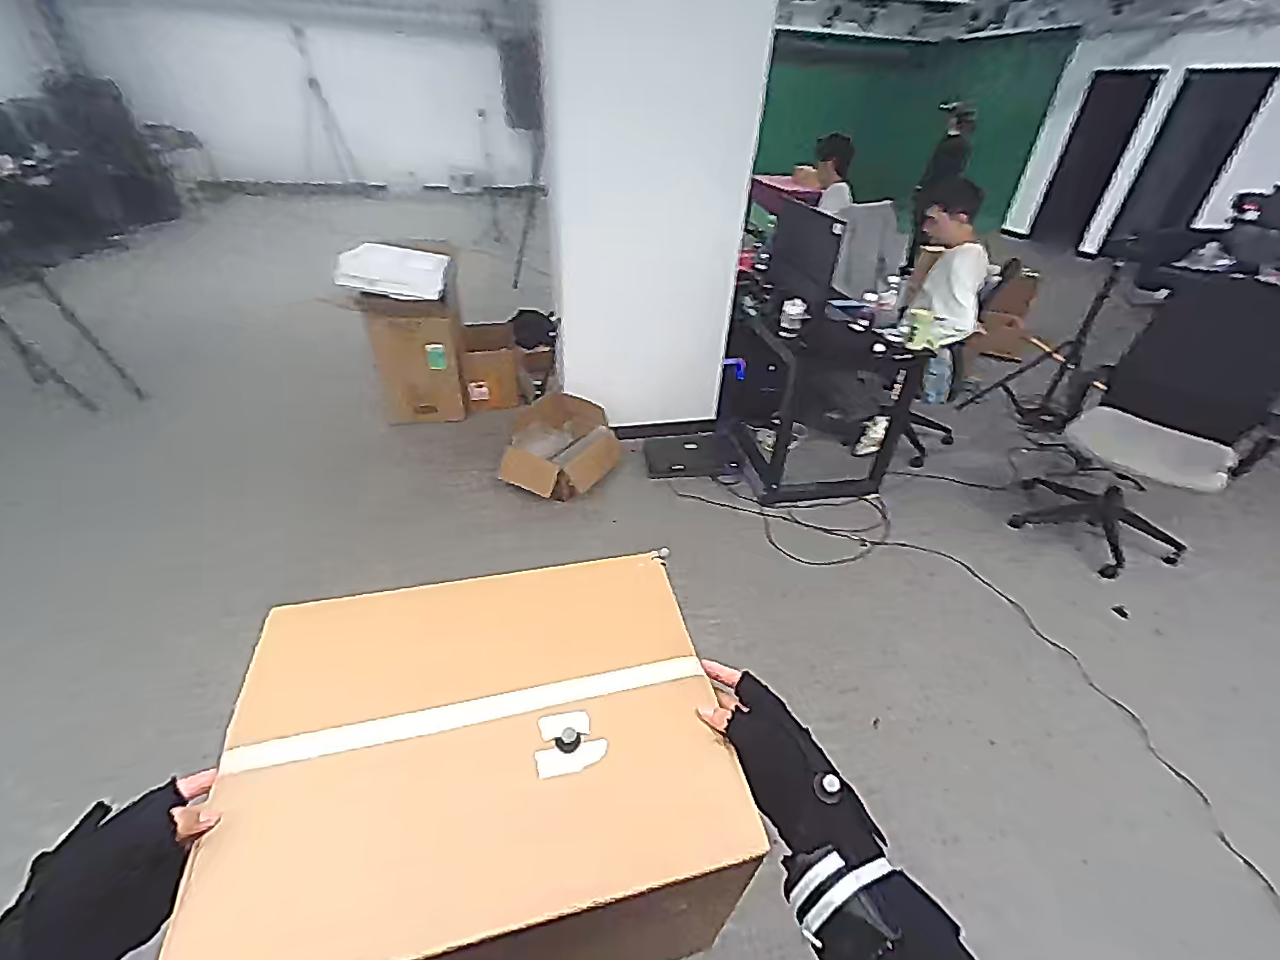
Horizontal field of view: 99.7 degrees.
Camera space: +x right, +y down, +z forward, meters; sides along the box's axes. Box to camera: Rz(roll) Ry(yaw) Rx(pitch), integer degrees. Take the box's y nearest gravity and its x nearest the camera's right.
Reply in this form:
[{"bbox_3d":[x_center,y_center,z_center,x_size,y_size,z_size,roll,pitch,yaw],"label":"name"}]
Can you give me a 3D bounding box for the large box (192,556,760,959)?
[{"bbox_3d":[-0.143,0.324,0.581,0.408,0.320,0.320,-6,41,-14],"label":"large box"}]
